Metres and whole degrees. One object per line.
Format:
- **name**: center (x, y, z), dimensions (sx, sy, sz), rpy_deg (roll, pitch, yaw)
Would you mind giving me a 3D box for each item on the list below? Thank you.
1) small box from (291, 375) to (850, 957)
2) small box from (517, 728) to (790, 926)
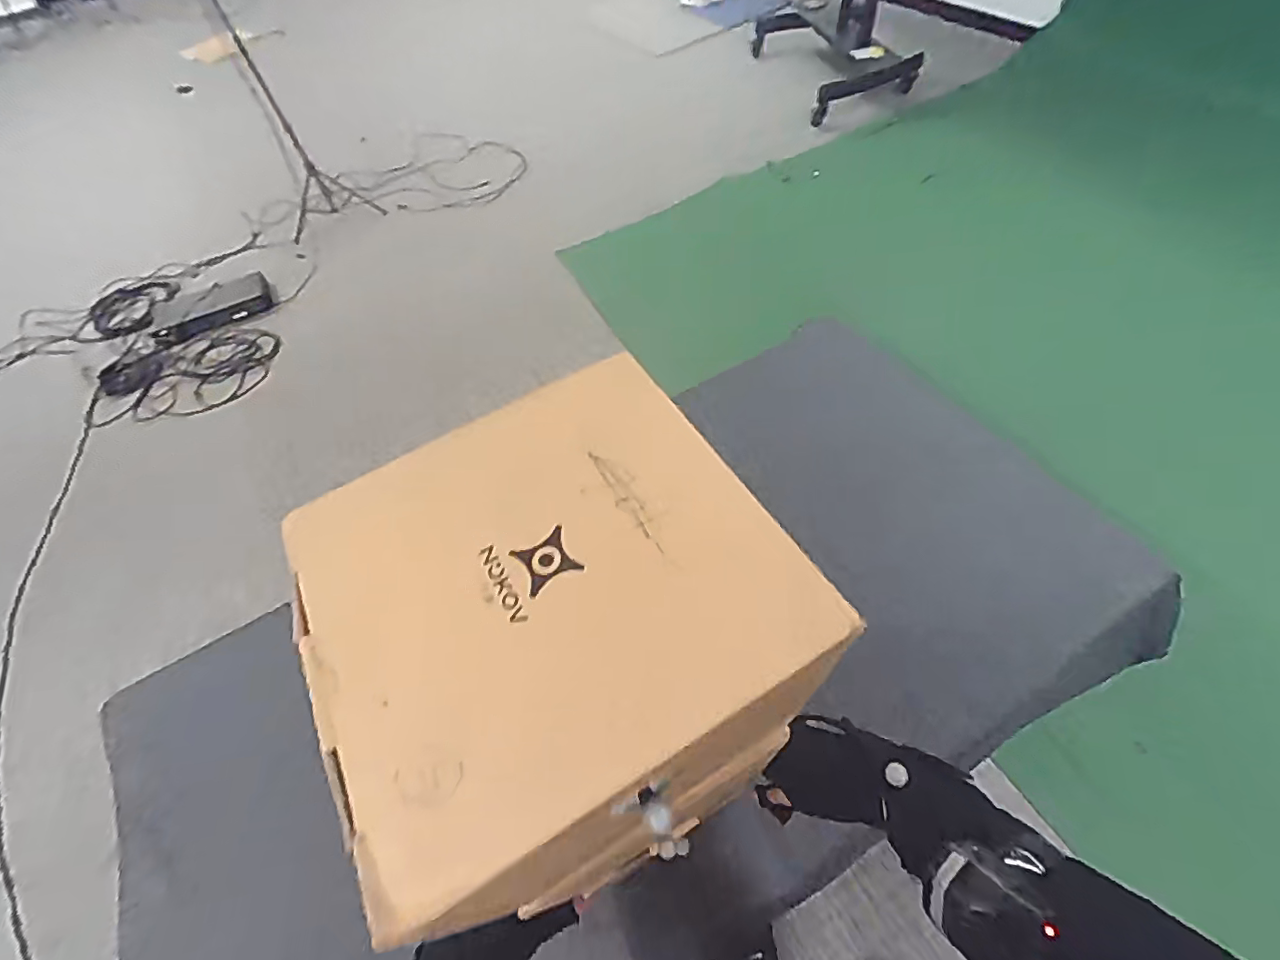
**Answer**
- **small box**: center (-0.031, 0.086, 0.277), dimensions (0.179, 0.176, 0.168), rpy_deg (-28, 59, -13)
- **small box**: center (-0.017, 0.182, 0.407), dimensions (0.179, 0.176, 0.168), rpy_deg (-28, 58, -11)
